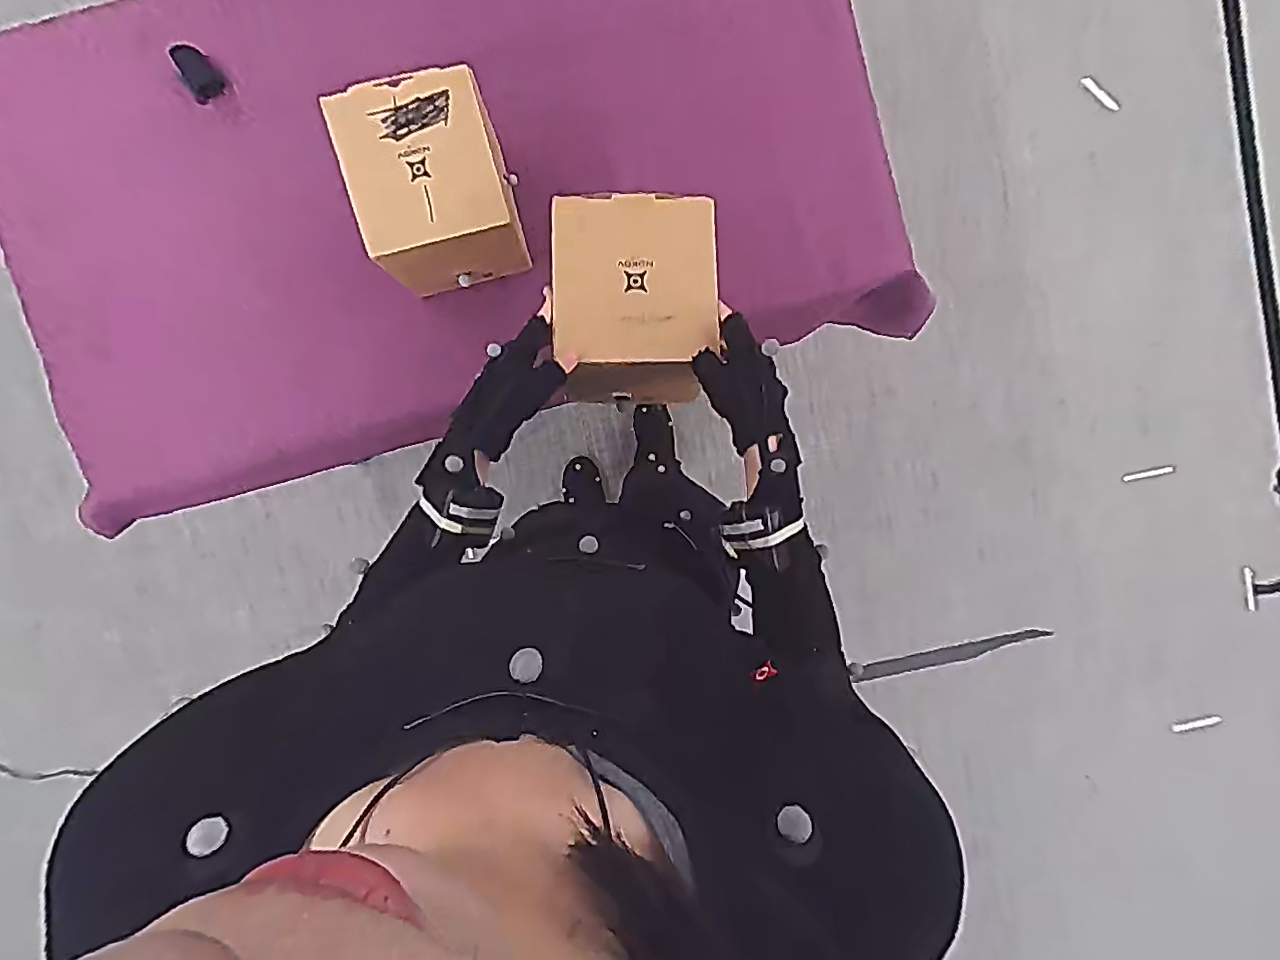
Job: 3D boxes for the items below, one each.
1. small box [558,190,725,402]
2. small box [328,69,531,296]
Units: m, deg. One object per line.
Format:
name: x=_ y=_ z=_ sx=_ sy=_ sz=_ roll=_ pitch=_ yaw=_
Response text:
small box: x=-0.004 y=-0.196 z=0.613 sx=0.168 sy=0.176 sz=0.179 roll=-2 pitch=84 yaw=-2
small box: x=-0.245 y=-0.354 z=0.674 sx=0.168 sy=0.176 sz=0.179 roll=-15 pitch=95 yaw=-2
